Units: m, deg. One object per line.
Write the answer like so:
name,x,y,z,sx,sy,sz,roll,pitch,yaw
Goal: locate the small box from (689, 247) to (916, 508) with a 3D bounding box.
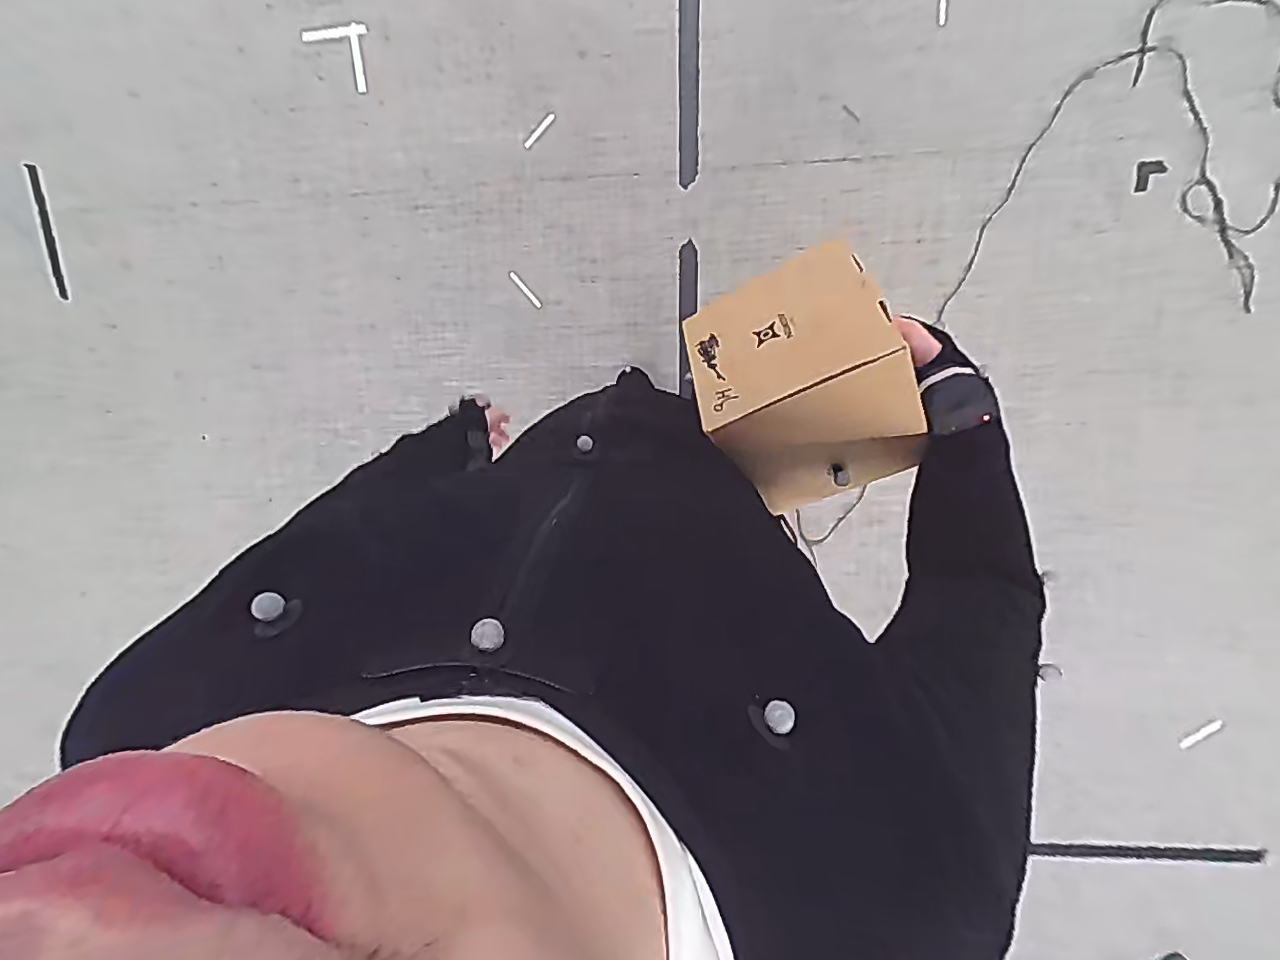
small box,0.172,-0.097,0.570,0.179,0.168,0.176,-22,138,21
